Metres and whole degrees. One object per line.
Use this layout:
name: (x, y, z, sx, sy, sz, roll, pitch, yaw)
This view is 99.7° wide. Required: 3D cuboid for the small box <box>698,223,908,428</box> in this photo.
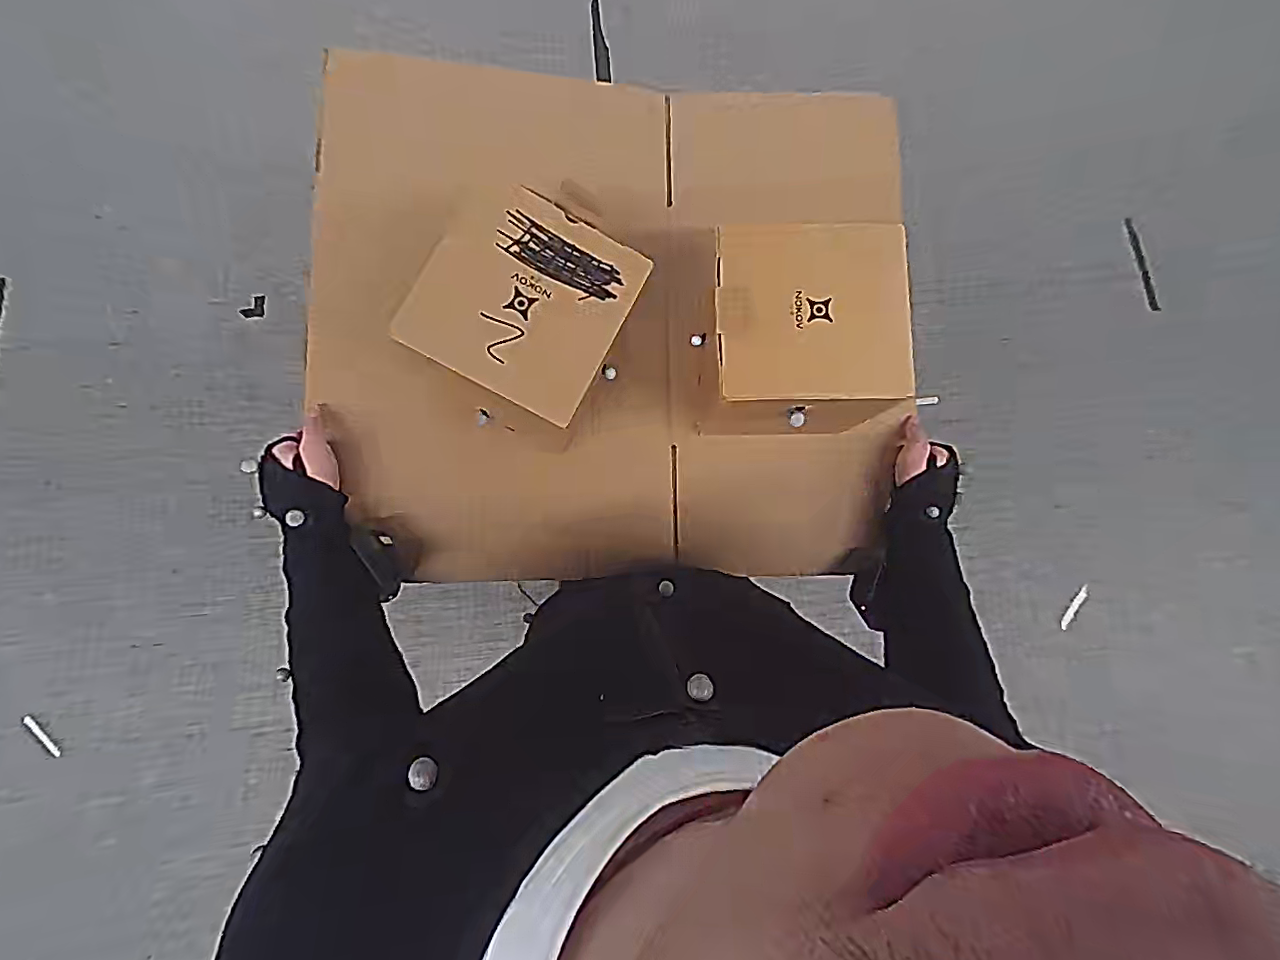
small box: (0.160, -0.153, 0.583, 0.179, 0.176, 0.168, -1, 84, 0)
